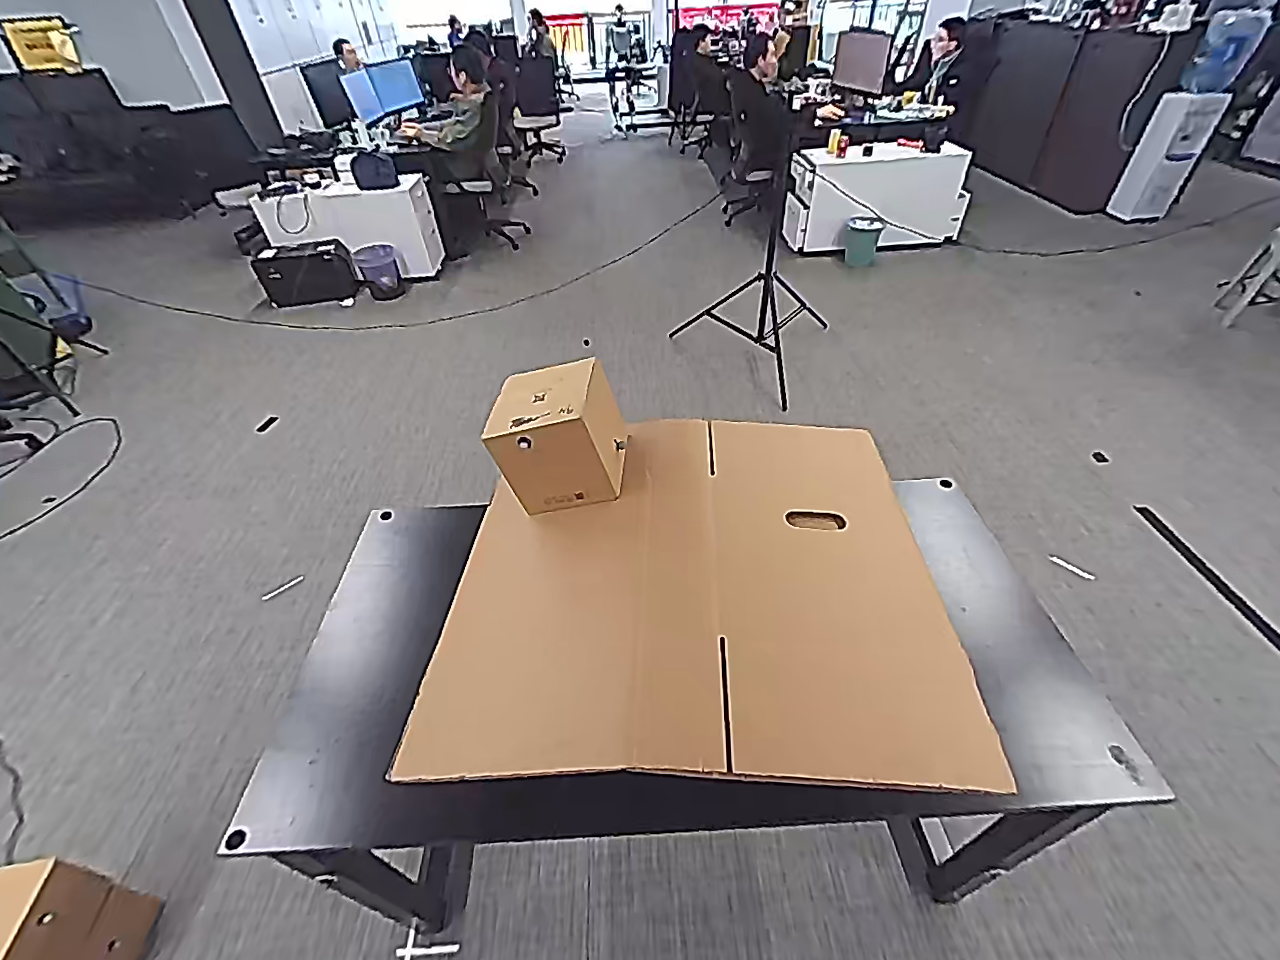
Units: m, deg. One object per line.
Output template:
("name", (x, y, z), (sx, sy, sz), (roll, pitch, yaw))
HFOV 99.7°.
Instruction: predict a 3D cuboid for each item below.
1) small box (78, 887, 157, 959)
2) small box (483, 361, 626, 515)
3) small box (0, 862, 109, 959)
("small box", (-1.169, 0.982, 1.124), (0.168, 0.176, 0.179), (-6, 43, -3))
("small box", (-0.128, -0.068, 0.897), (0.168, 0.176, 0.179), (-11, 39, 14))
("small box", (-1.178, 0.858, 1.019), (0.168, 0.176, 0.179), (-8, 41, -6))
